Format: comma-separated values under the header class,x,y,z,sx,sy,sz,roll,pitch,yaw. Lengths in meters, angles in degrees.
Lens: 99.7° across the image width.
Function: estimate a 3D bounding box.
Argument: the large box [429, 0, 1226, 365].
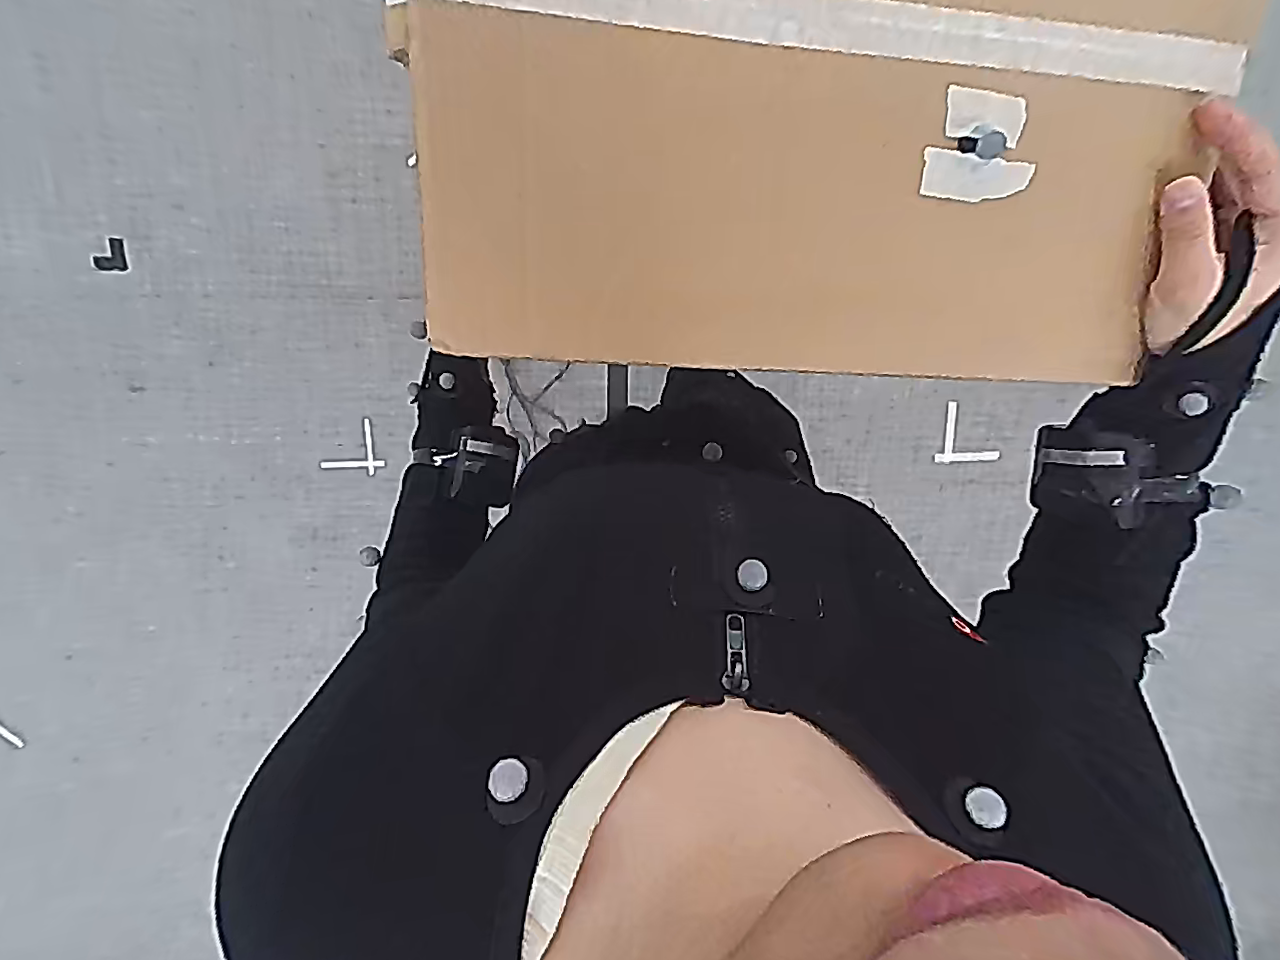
class,x,y,z,sx,sy,sz,roll,pitch,yaw
large box,0.081,-0.259,0.404,0.408,0.320,0.320,0,108,-8
